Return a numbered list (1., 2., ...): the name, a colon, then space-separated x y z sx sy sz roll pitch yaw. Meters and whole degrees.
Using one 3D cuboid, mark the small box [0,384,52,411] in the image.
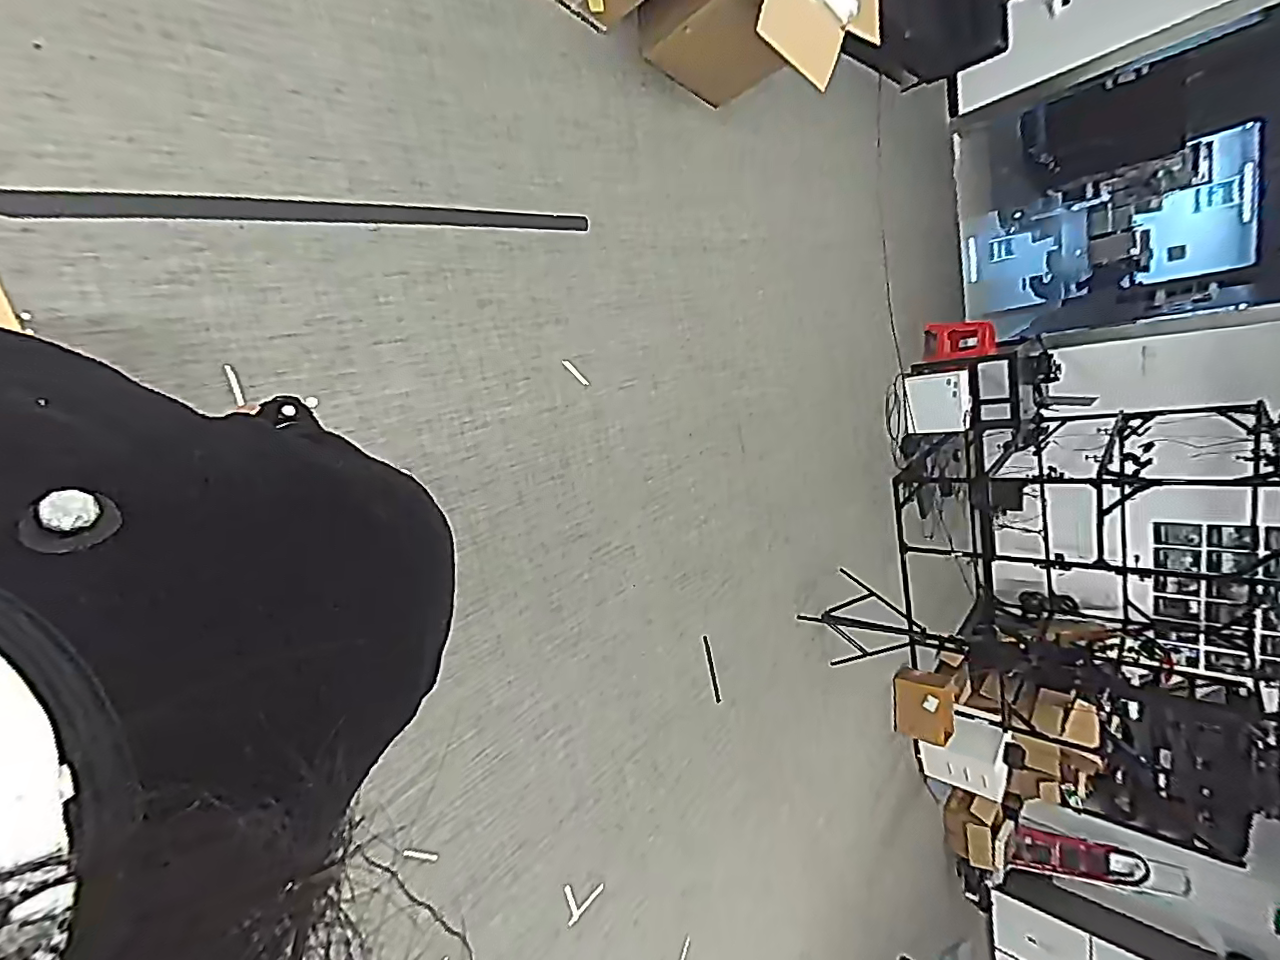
1. small box: -1.030 -0.194 0.805 0.168 0.176 0.179 -26 107 -42
